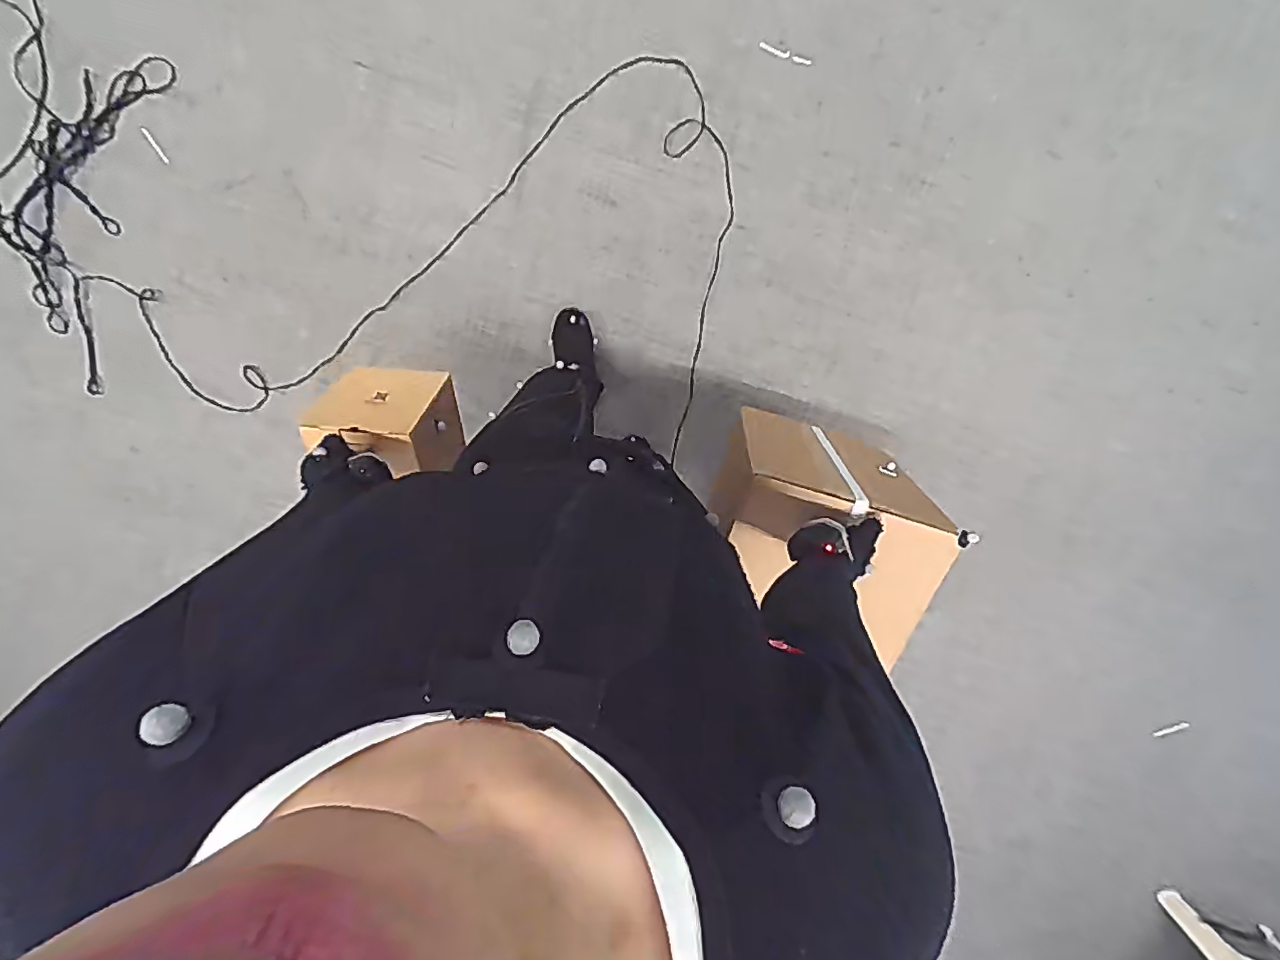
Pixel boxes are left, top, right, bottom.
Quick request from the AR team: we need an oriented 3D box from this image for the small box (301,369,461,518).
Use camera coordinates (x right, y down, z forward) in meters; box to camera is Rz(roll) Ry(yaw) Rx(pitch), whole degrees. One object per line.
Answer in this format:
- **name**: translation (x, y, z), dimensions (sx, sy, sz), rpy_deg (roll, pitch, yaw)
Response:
- **small box**: translation (-0.407, -0.062, 0.890), dimensions (0.168, 0.179, 0.176), rpy_deg (4, 131, 2)
